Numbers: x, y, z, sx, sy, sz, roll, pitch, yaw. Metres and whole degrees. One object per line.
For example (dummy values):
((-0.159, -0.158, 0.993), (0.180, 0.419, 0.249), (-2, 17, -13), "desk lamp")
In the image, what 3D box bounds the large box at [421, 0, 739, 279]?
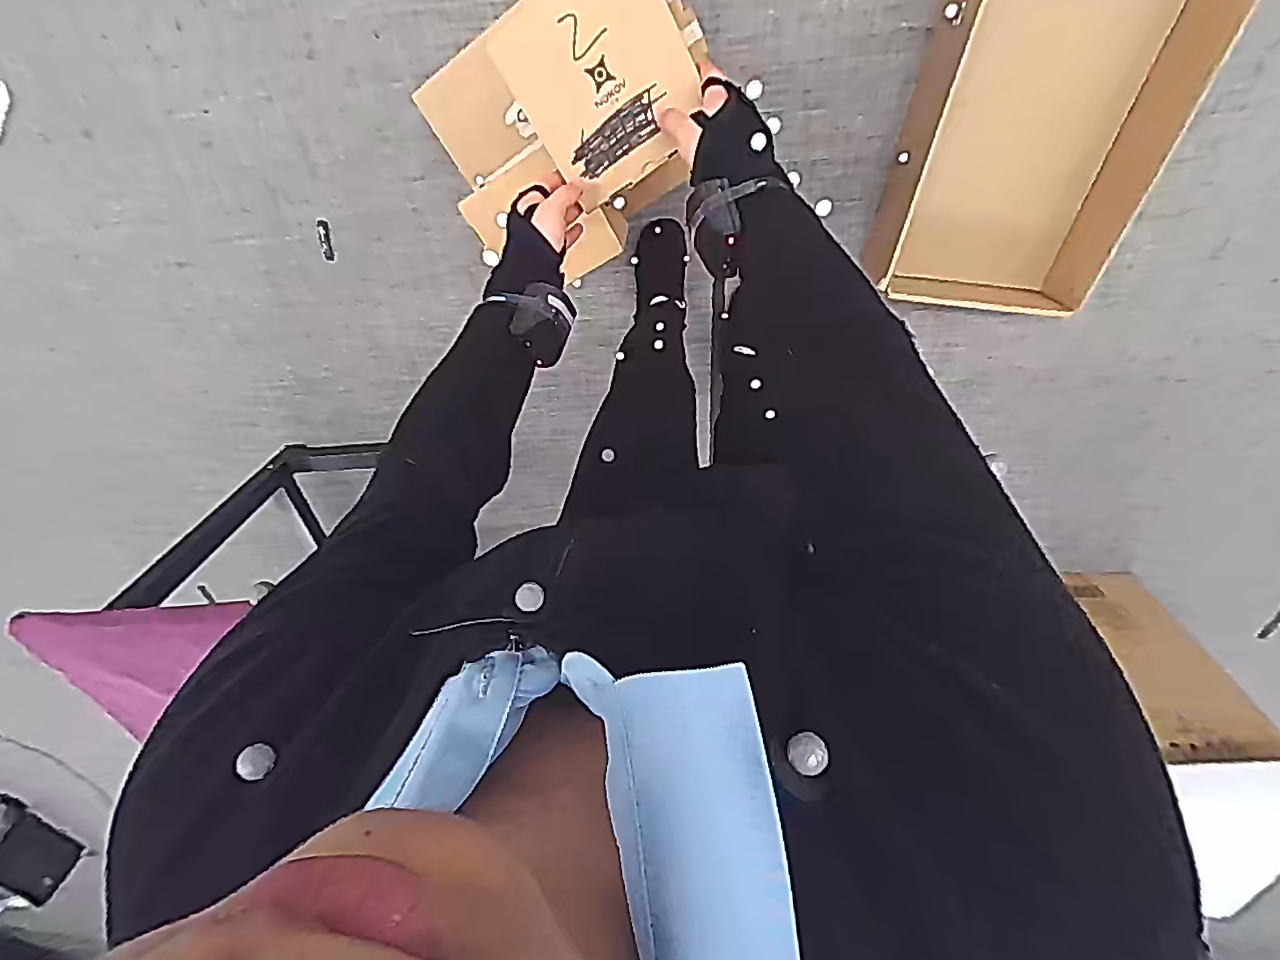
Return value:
((-0.082, -0.632, 0.945), (0.408, 0.320, 0.320), (-25, 119, 21), "large box")

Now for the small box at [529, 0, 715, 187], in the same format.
((-0.015, -0.525, 0.715), (0.168, 0.176, 0.179), (-25, 120, 22), "small box")
